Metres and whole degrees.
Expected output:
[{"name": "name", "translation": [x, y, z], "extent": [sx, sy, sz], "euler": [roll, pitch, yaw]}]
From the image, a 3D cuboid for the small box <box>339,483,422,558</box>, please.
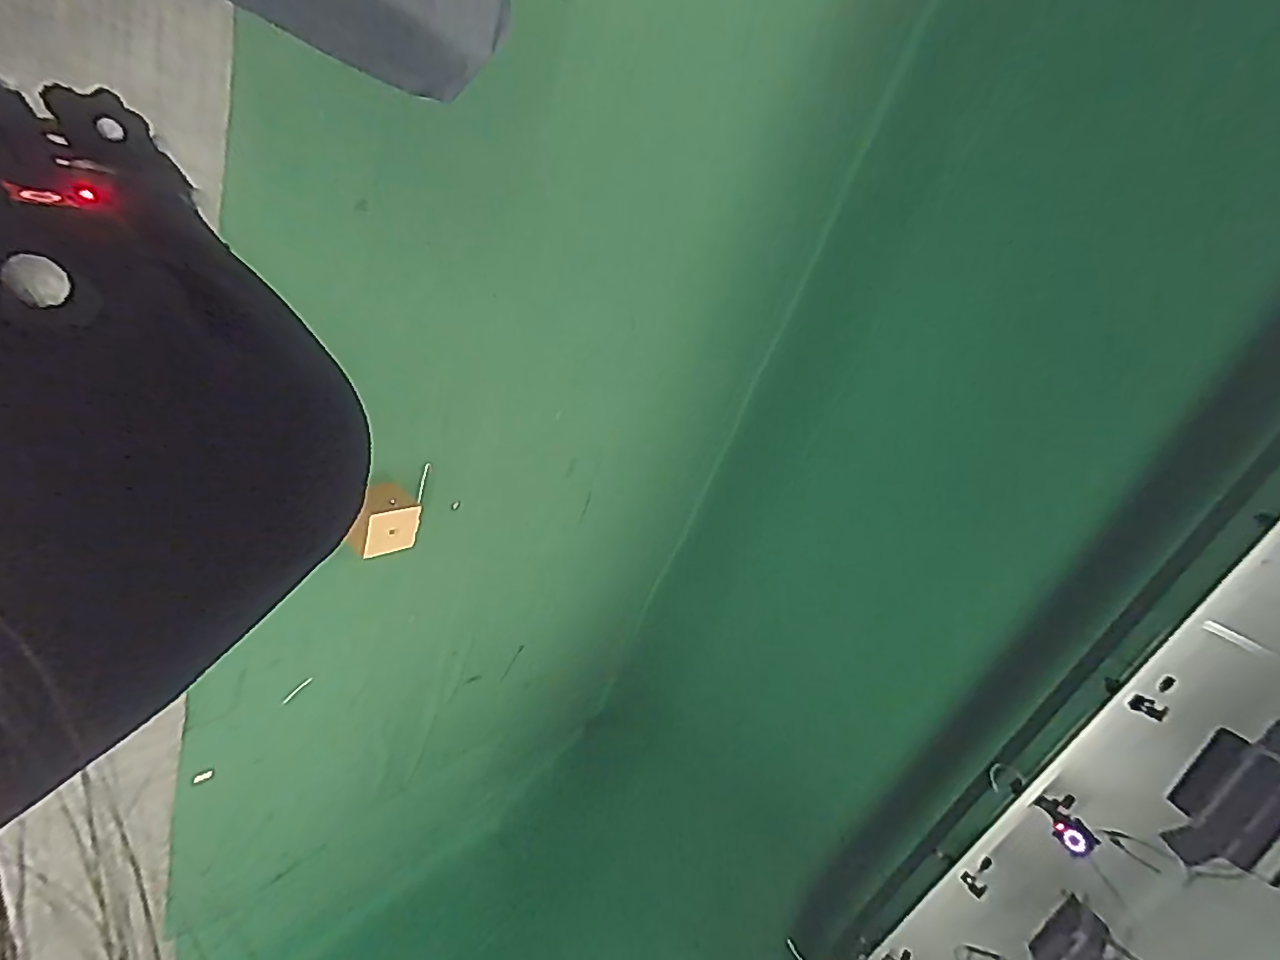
[{"name": "small box", "translation": [-0.847, 0.123, 1.764], "extent": [0.179, 0.176, 0.168], "euler": [-13, 129, -53]}]
